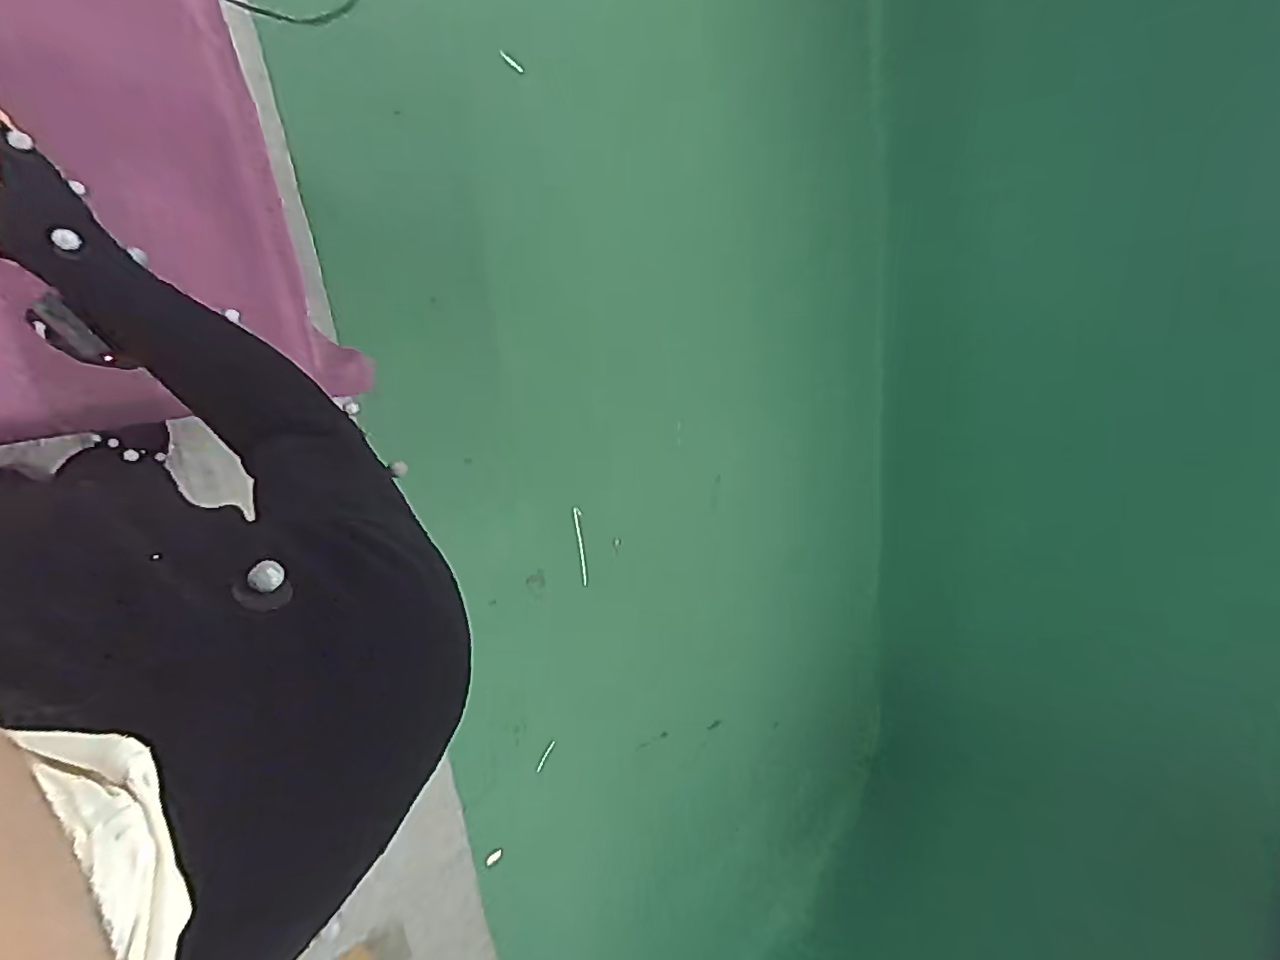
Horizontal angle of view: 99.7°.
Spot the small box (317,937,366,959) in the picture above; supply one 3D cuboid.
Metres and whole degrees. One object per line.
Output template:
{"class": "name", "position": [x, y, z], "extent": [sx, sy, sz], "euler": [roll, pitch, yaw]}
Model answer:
{"class": "small box", "position": [-0.888, 1.523, 1.598], "extent": [0.168, 0.176, 0.179], "euler": [-19, 111, -39]}
